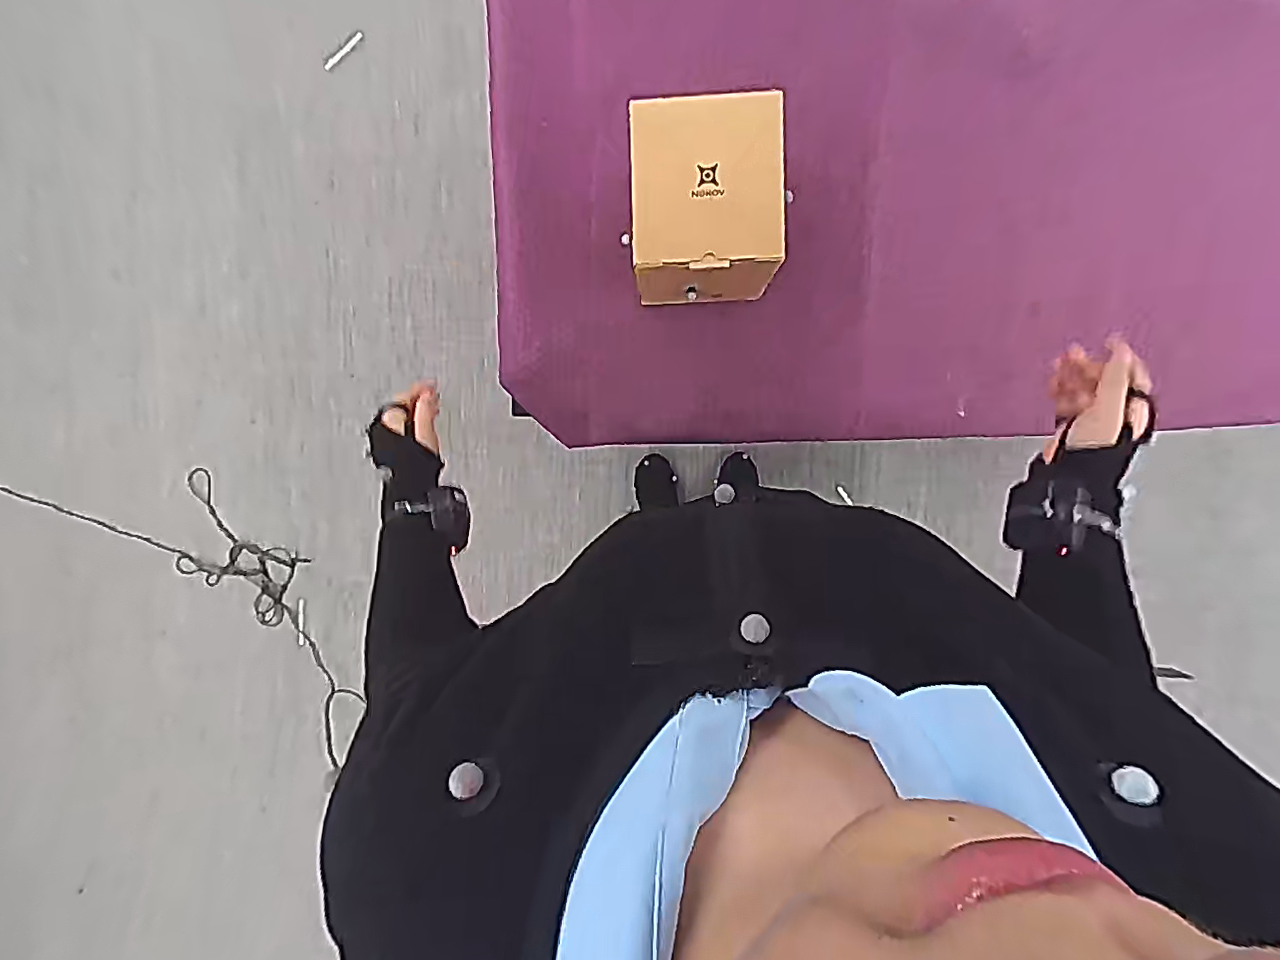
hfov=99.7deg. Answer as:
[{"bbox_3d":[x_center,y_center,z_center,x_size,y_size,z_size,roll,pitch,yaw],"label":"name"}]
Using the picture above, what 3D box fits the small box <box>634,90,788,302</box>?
[{"bbox_3d":[0.079,-0.330,0.660,0.168,0.176,0.179,-2,95,3],"label":"small box"}]
